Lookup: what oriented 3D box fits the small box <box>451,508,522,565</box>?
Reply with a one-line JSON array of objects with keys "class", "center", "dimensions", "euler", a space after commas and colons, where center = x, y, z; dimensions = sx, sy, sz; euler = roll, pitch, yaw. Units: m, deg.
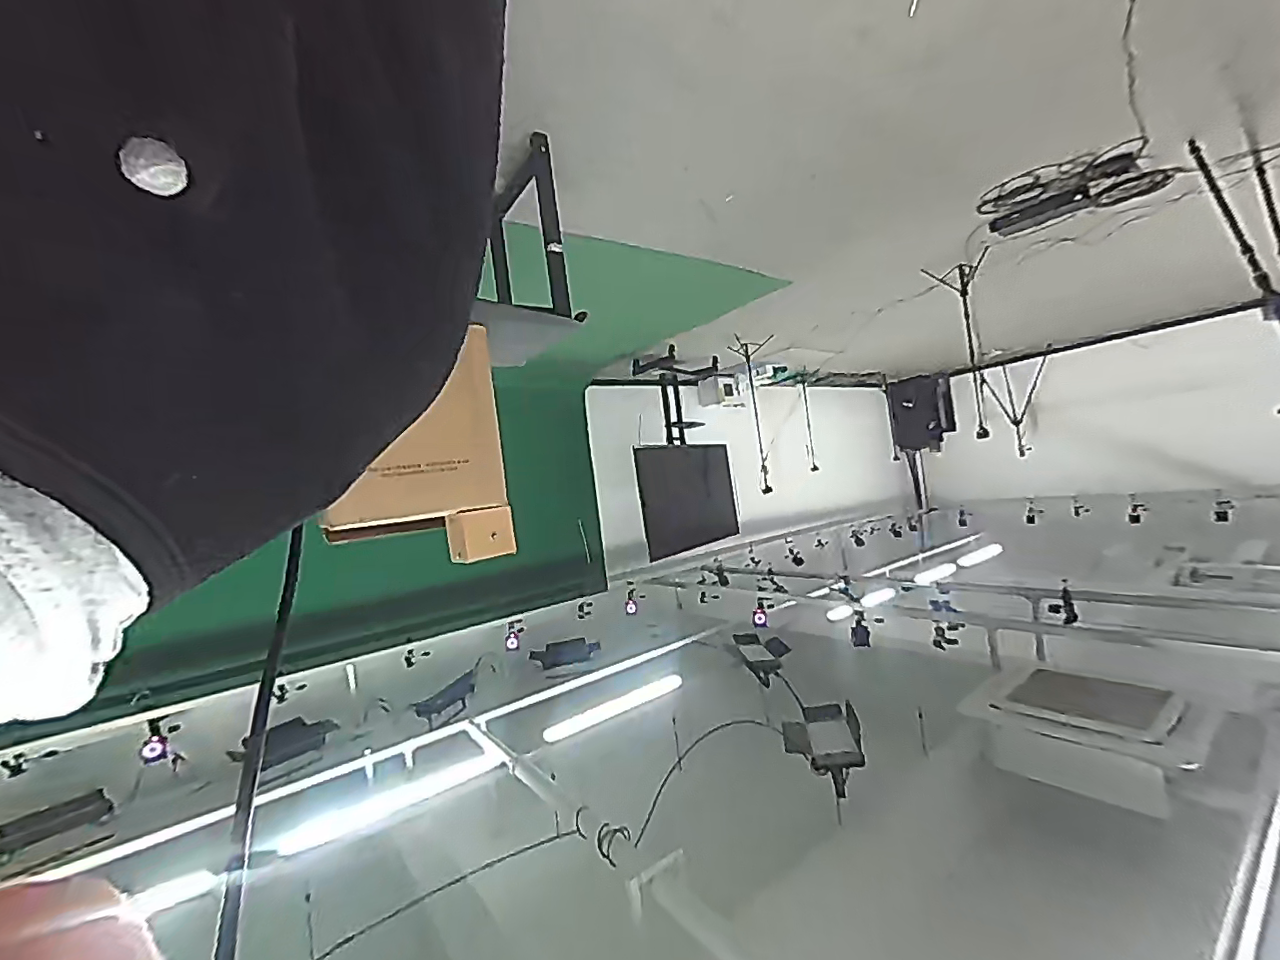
[{"class": "small box", "center": [-0.538, 0.193, 1.880], "dimensions": [0.179, 0.176, 0.168], "euler": [-10, 180, -38]}]
